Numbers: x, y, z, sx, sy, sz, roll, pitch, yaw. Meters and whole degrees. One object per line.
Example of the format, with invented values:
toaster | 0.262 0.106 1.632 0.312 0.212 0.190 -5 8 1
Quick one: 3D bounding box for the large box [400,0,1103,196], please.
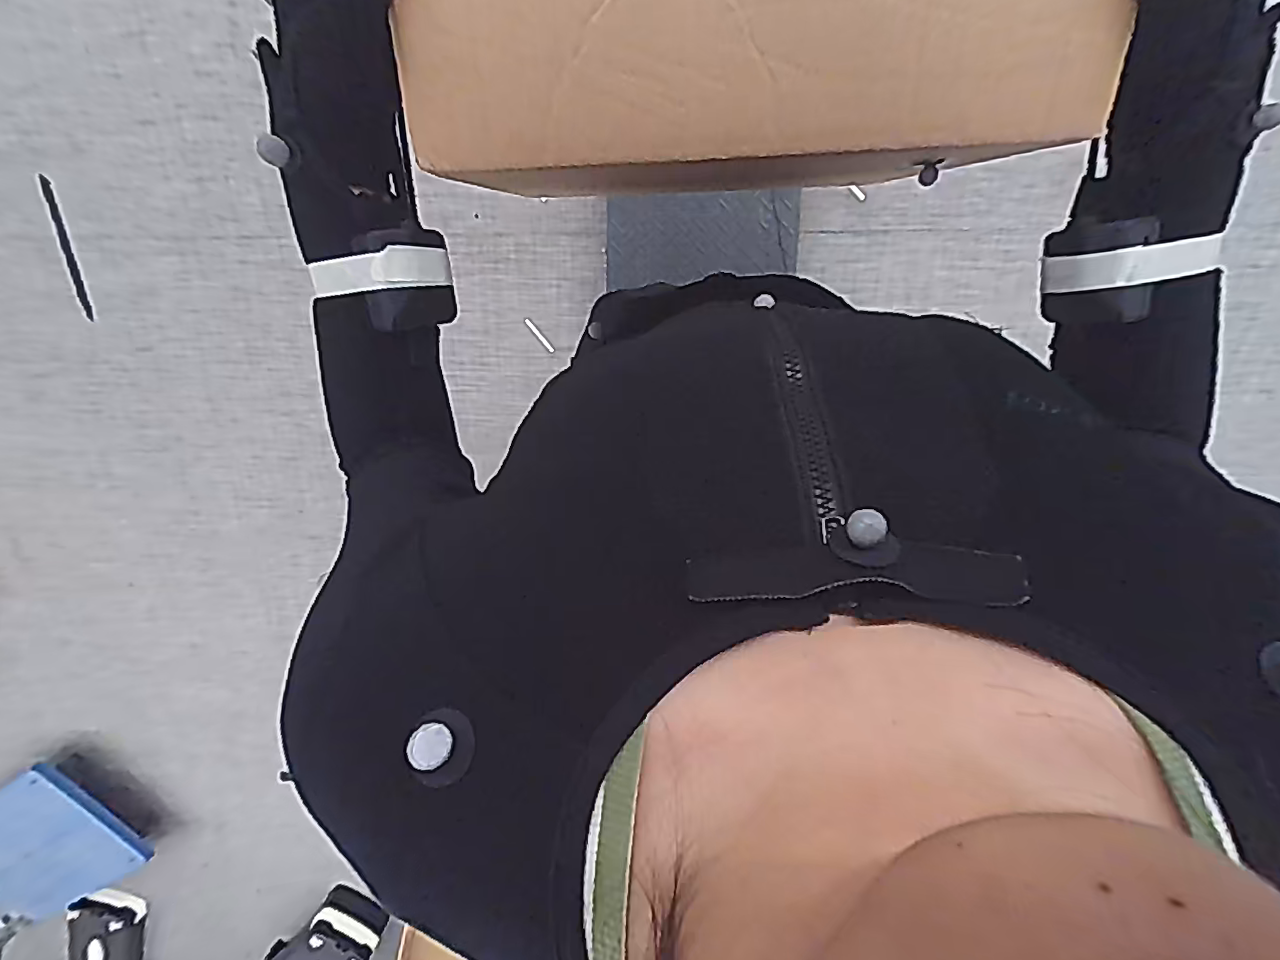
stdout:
large box | 0.061 -0.402 0.406 0.408 0.320 0.320 -2 115 2
